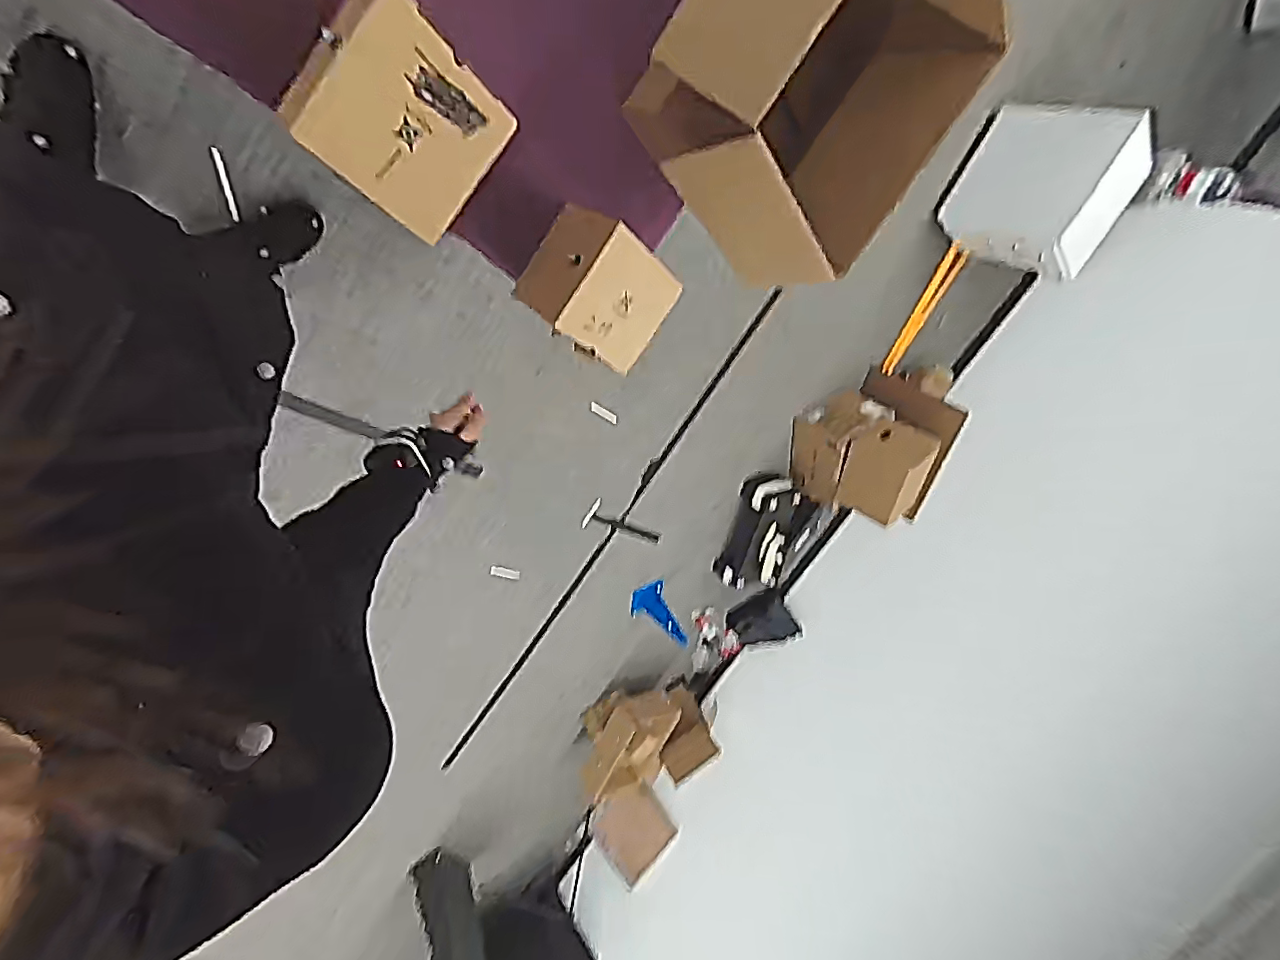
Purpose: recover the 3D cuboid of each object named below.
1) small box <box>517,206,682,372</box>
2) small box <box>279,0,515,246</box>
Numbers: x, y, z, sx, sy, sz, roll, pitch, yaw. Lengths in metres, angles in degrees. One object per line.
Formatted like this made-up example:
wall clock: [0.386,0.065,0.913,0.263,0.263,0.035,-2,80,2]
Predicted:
small box: [-0.072,-0.314,0.884,0.168,0.176,0.179,26,103,-47]
small box: [-0.285,-0.413,0.623,0.179,0.176,0.168,-51,139,7]
